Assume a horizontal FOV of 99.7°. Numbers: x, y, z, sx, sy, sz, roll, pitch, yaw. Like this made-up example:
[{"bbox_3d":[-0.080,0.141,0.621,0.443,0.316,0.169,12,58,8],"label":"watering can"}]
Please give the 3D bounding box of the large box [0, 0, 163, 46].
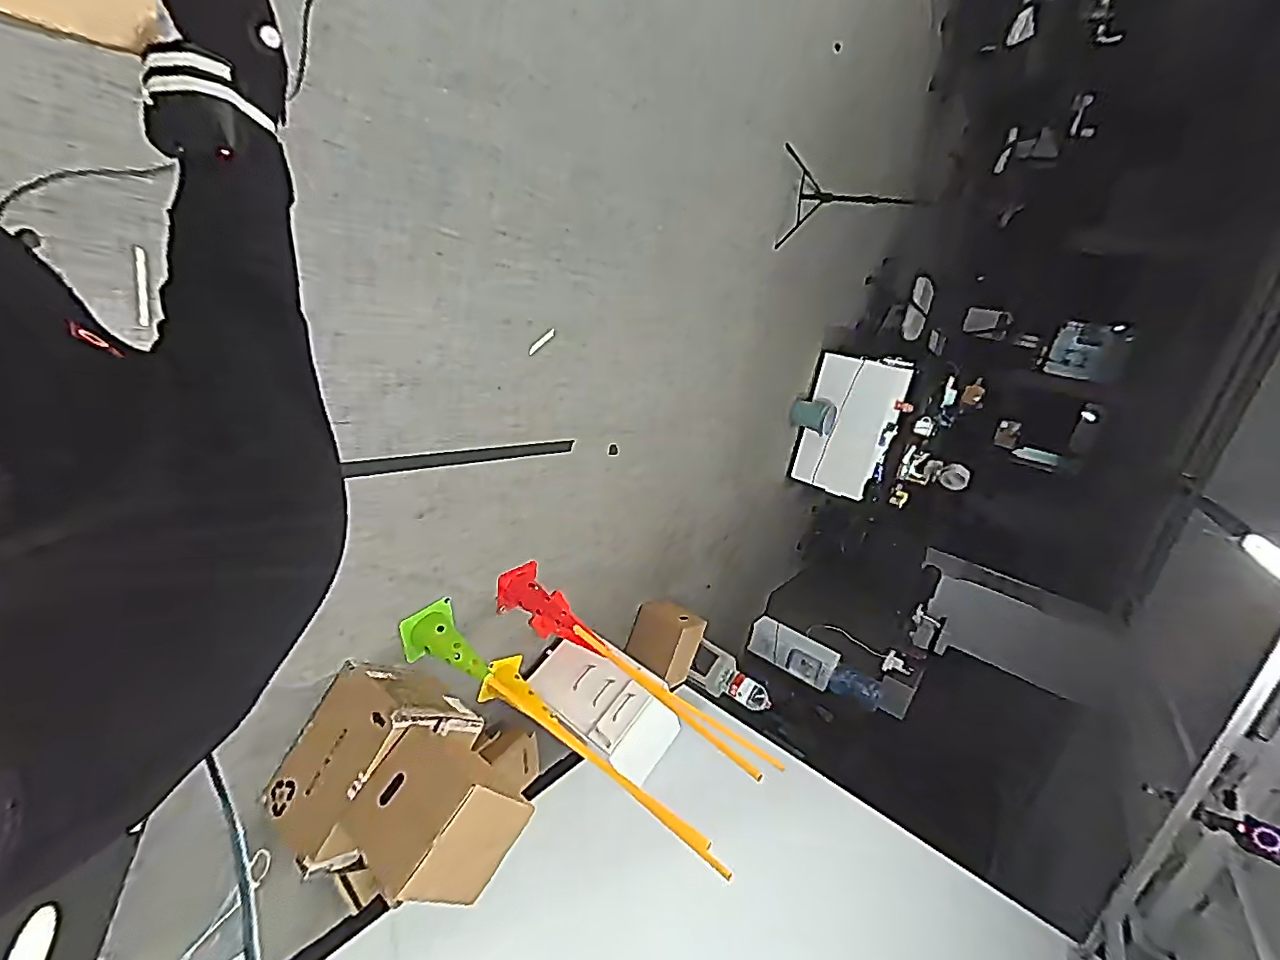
[{"bbox_3d":[-0.533,-0.454,0.232,0.408,0.320,0.320,-20,133,-51],"label":"large box"}]
